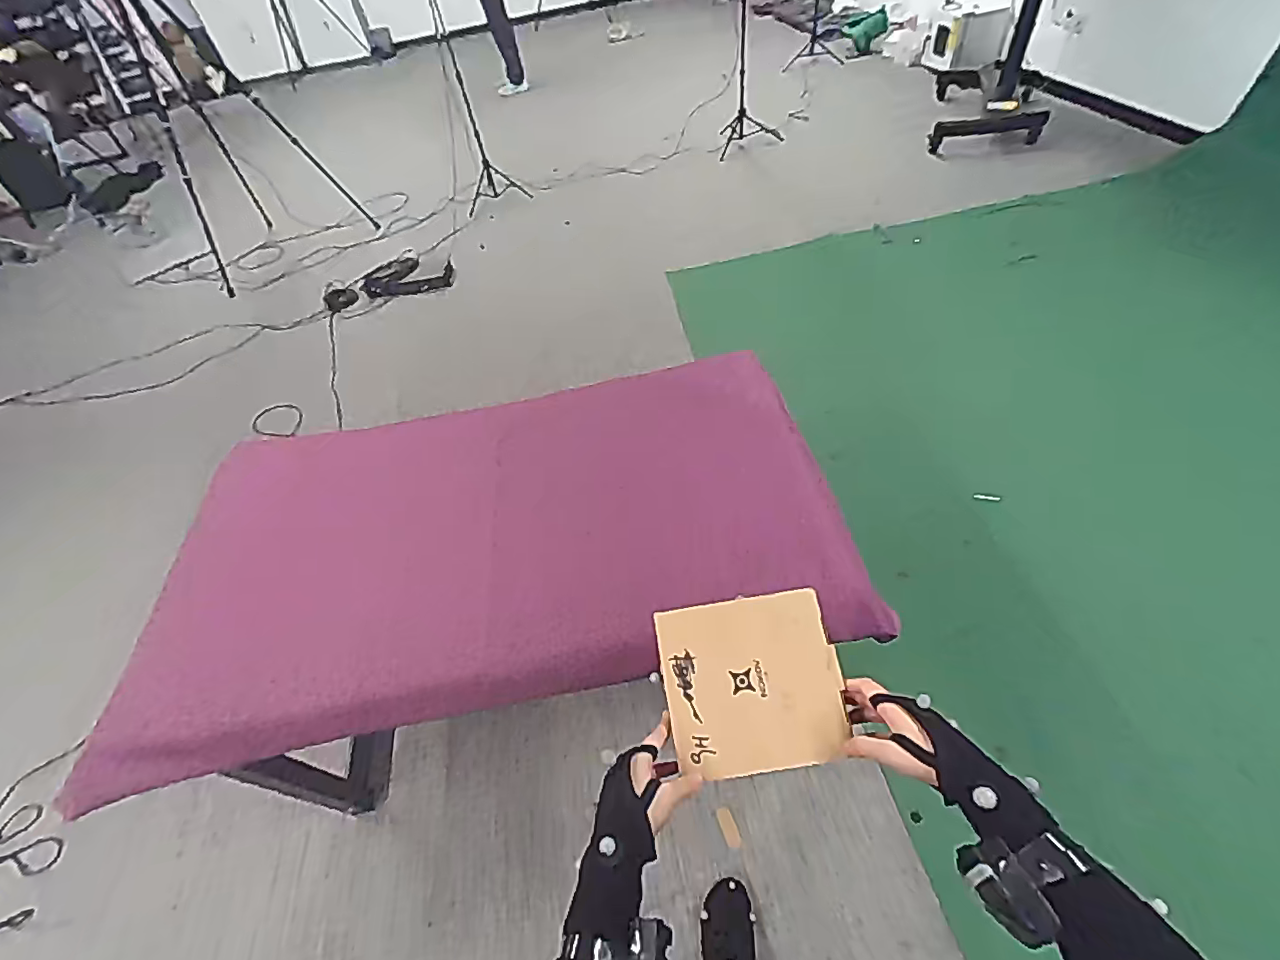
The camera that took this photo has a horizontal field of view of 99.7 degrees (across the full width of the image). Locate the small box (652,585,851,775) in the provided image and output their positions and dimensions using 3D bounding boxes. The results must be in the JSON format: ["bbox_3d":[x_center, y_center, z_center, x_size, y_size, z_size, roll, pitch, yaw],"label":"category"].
[{"bbox_3d":[0.111,0.224,0.616,0.179,0.176,0.168,-8,67,1],"label":"small box"}]
